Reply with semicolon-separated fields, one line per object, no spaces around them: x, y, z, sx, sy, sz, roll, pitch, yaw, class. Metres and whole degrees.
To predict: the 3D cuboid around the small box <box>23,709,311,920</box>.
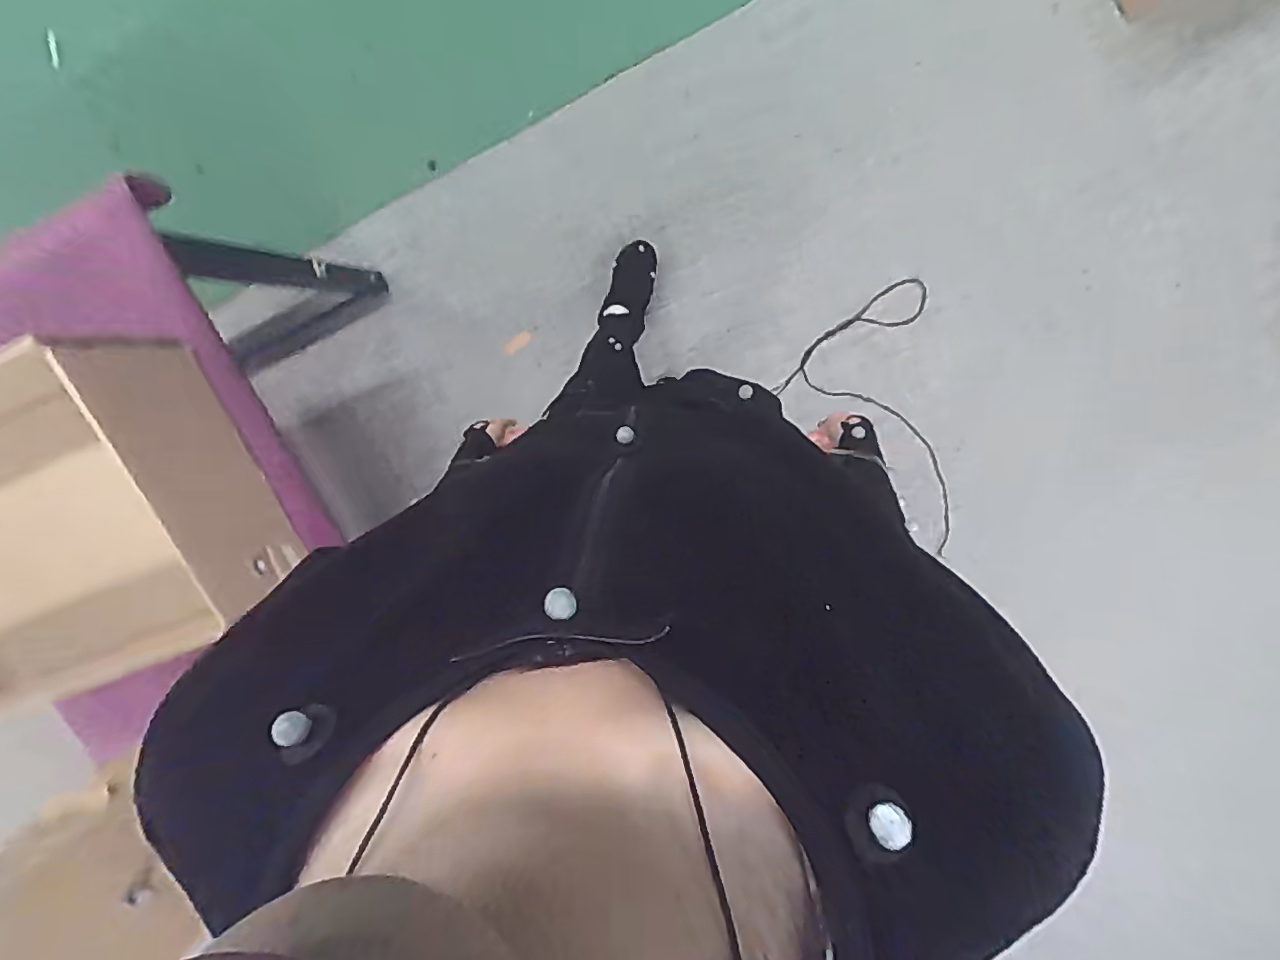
-0.566;0.414;0.674;0.168;0.176;0.179;-20;103;11;small box
